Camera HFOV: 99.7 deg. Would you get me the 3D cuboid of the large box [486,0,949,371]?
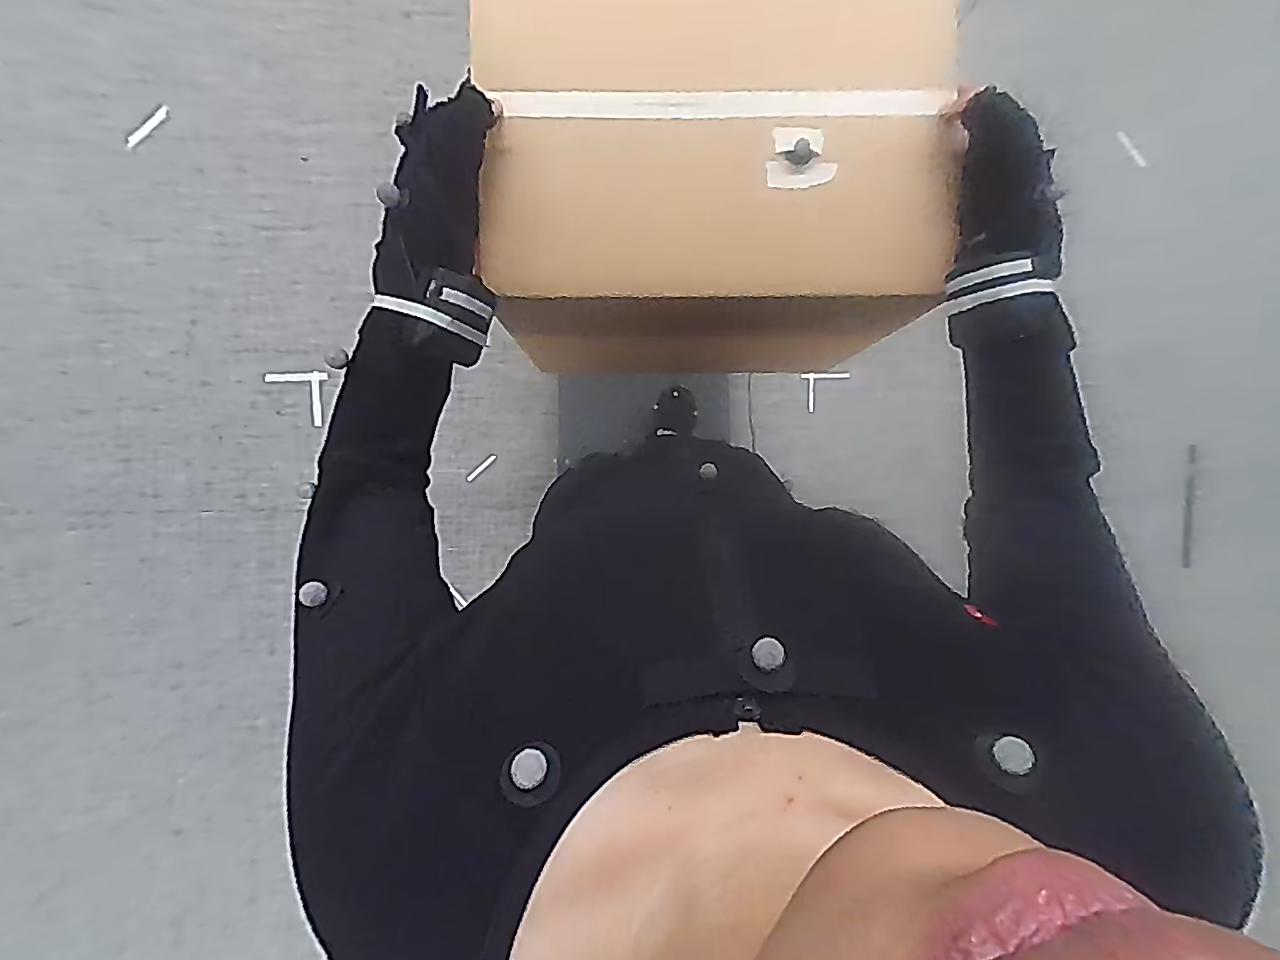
[{"bbox_3d":[0.063,-0.314,0.616,0.408,0.320,0.320,-1,90,-1],"label":"large box"}]
